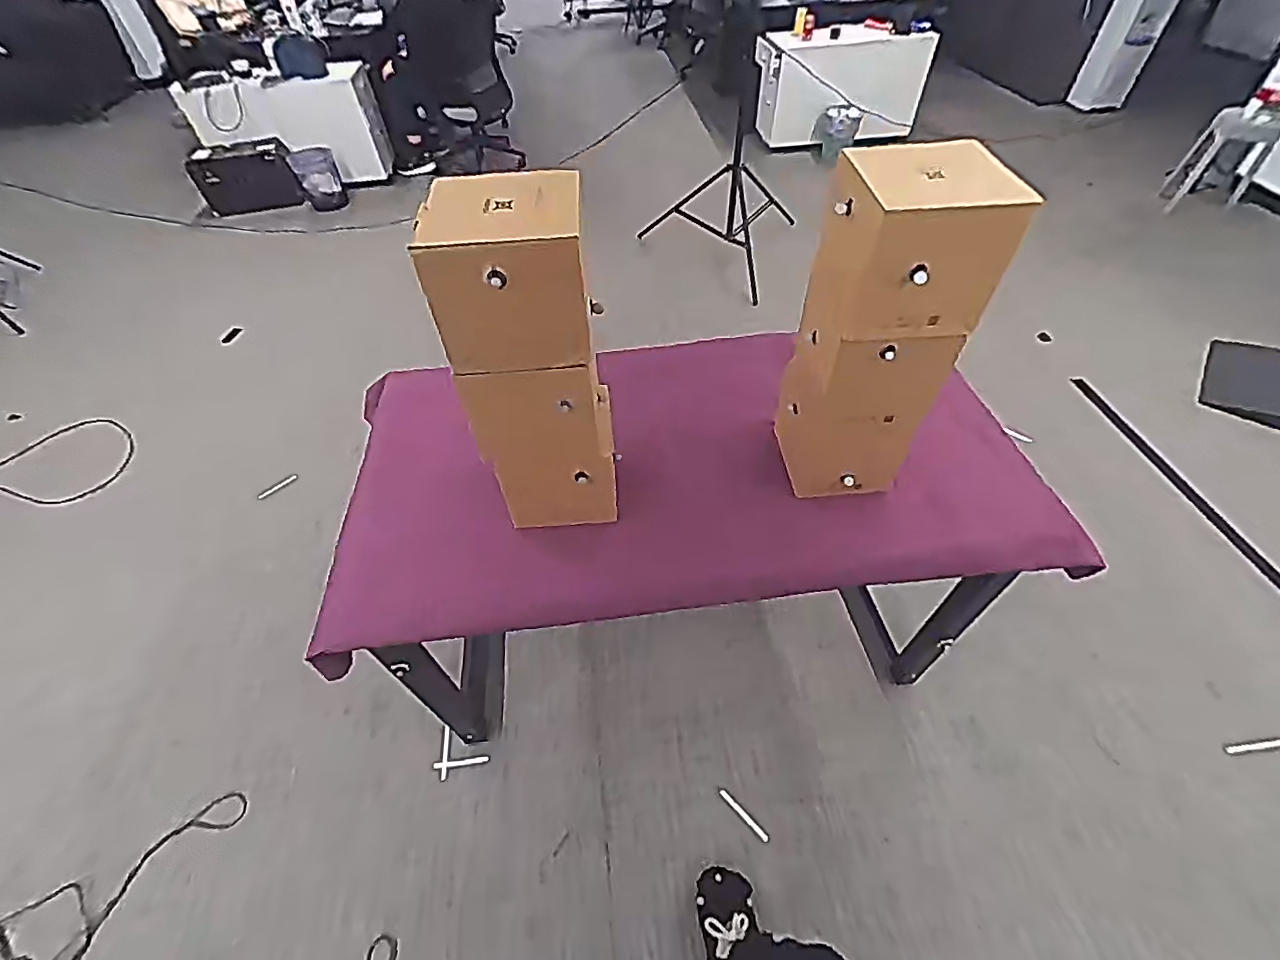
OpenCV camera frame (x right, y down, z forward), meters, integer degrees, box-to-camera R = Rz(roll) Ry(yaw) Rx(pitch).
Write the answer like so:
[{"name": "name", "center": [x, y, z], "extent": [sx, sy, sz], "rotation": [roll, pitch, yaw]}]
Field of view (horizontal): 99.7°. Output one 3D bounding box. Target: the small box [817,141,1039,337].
[{"name": "small box", "center": [0.334, -0.292, 0.671], "extent": [0.168, 0.176, 0.179], "rotation": [-3, 50, 1]}]

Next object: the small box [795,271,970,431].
[{"name": "small box", "center": [0.339, -0.192, 0.801], "extent": [0.168, 0.176, 0.179], "rotation": [-3, 49, 1]}]

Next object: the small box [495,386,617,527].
[{"name": "small box", "center": [-0.128, -0.036, 0.906], "extent": [0.179, 0.176, 0.168], "rotation": [-4, 49, 0]}]

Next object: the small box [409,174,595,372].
[{"name": "small box", "center": [-0.150, -0.246, 0.657], "extent": [0.179, 0.176, 0.168], "rotation": [-4, 51, -2]}]

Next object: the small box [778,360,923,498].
[{"name": "small box", "center": [0.345, -0.091, 0.930], "extent": [0.168, 0.176, 0.179], "rotation": [-5, 50, 0]}]
